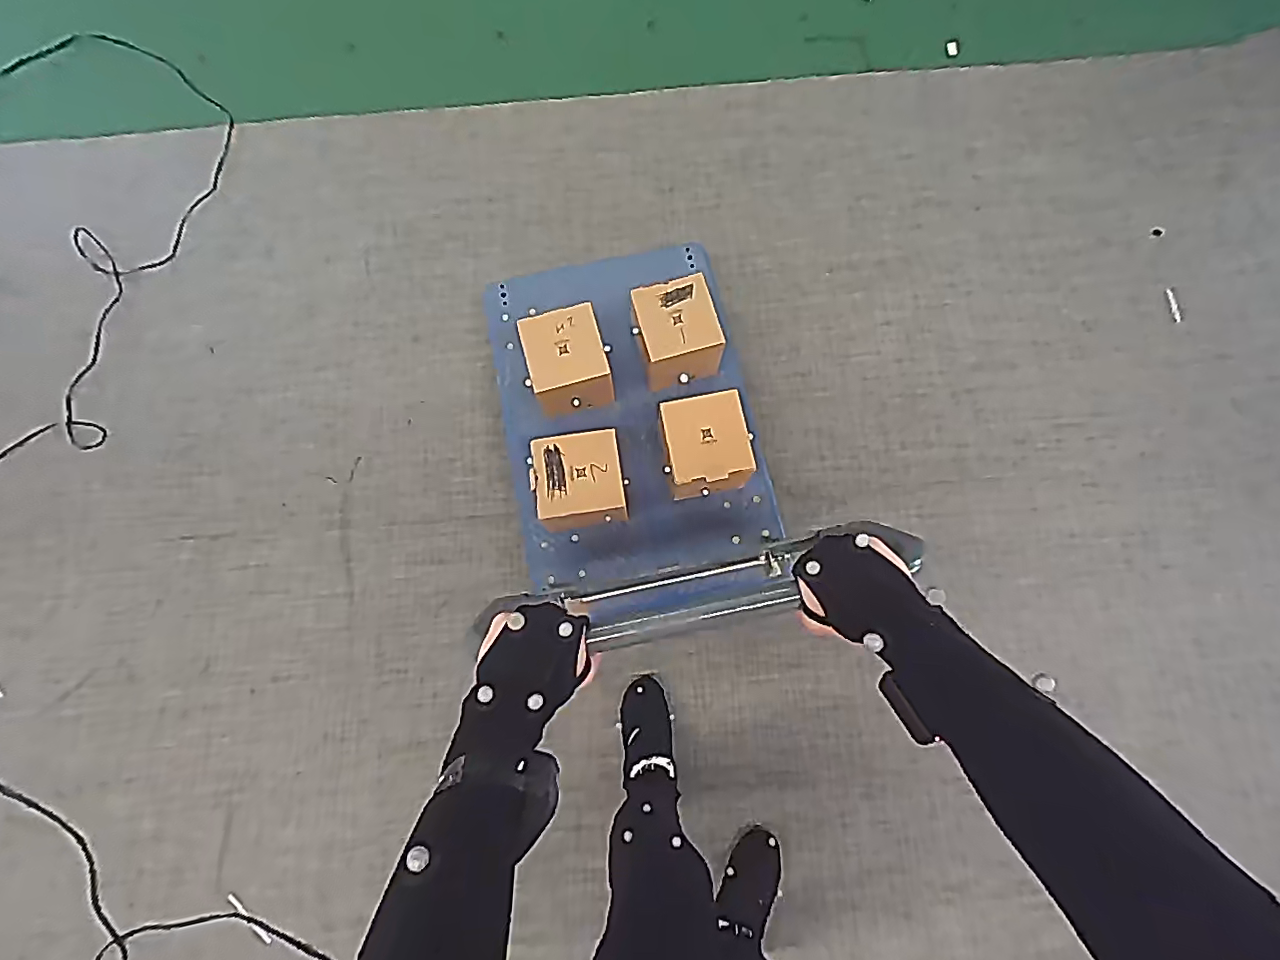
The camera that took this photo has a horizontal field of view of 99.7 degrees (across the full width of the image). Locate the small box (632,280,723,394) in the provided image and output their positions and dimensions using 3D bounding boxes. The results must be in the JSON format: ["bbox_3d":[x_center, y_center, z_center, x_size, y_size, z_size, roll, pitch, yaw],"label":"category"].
[{"bbox_3d":[0.082,-0.324,1.251,0.168,0.176,0.179,-15,78,-2],"label":"small box"}]

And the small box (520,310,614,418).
[{"bbox_3d":[-0.160,-0.255,1.240,0.168,0.176,0.179,-15,77,-3],"label":"small box"}]

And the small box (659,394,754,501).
[{"bbox_3d":[0.138,-0.066,1.191,0.168,0.176,0.179,-11,77,-2],"label":"small box"}]
